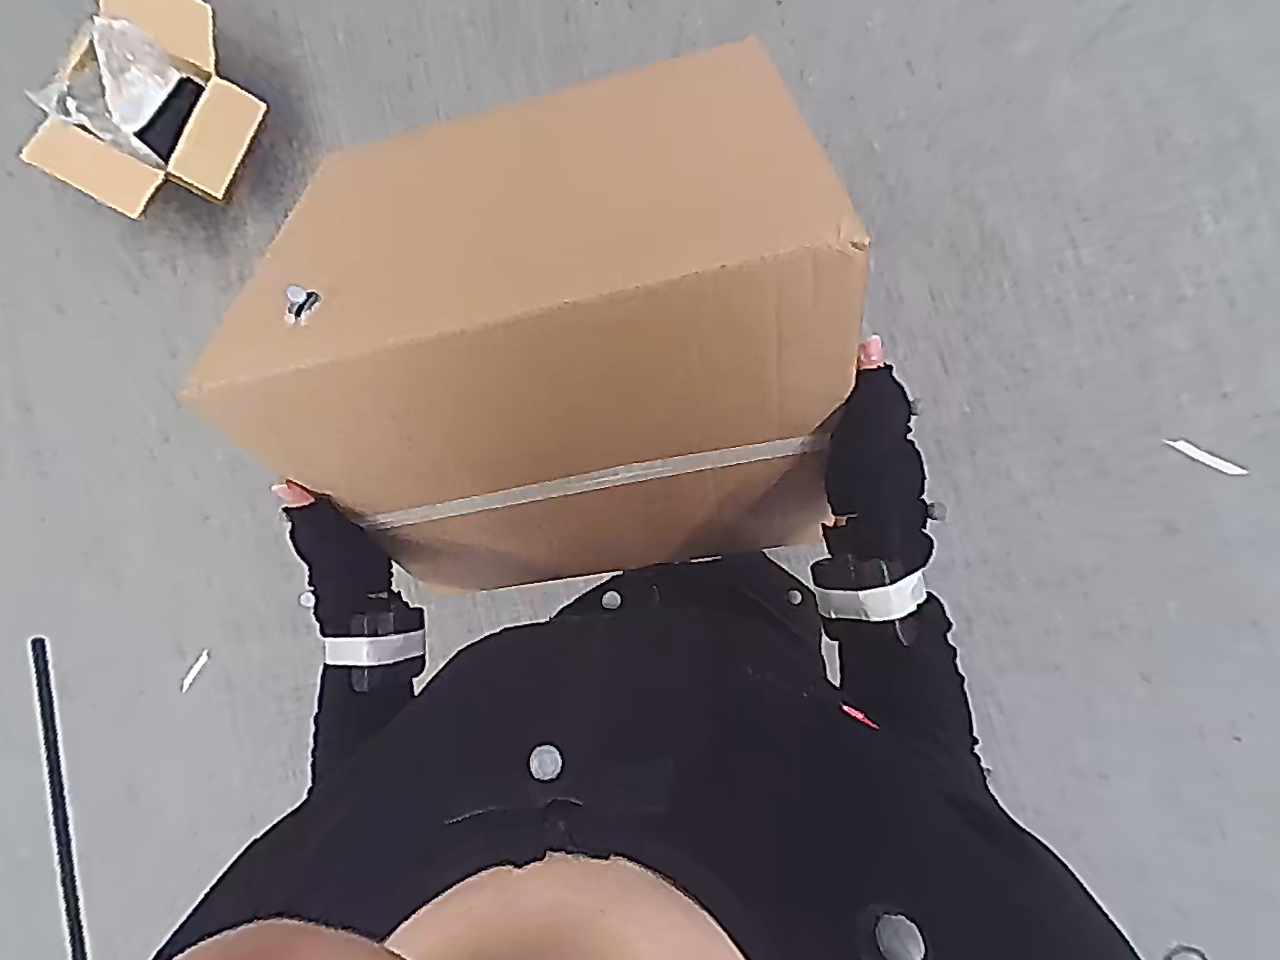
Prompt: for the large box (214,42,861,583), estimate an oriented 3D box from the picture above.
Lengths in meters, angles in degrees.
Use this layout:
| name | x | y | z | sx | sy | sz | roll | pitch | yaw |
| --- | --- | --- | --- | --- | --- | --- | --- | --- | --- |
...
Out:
| name | x | y | z | sx | sy | sz | roll | pitch | yaw |
| --- | --- | --- | --- | --- | --- | --- | --- | --- | --- |
| large box | -0.054 | -0.131 | 0.512 | 0.408 | 0.320 | 0.320 | -10 | 55 | 8 |
